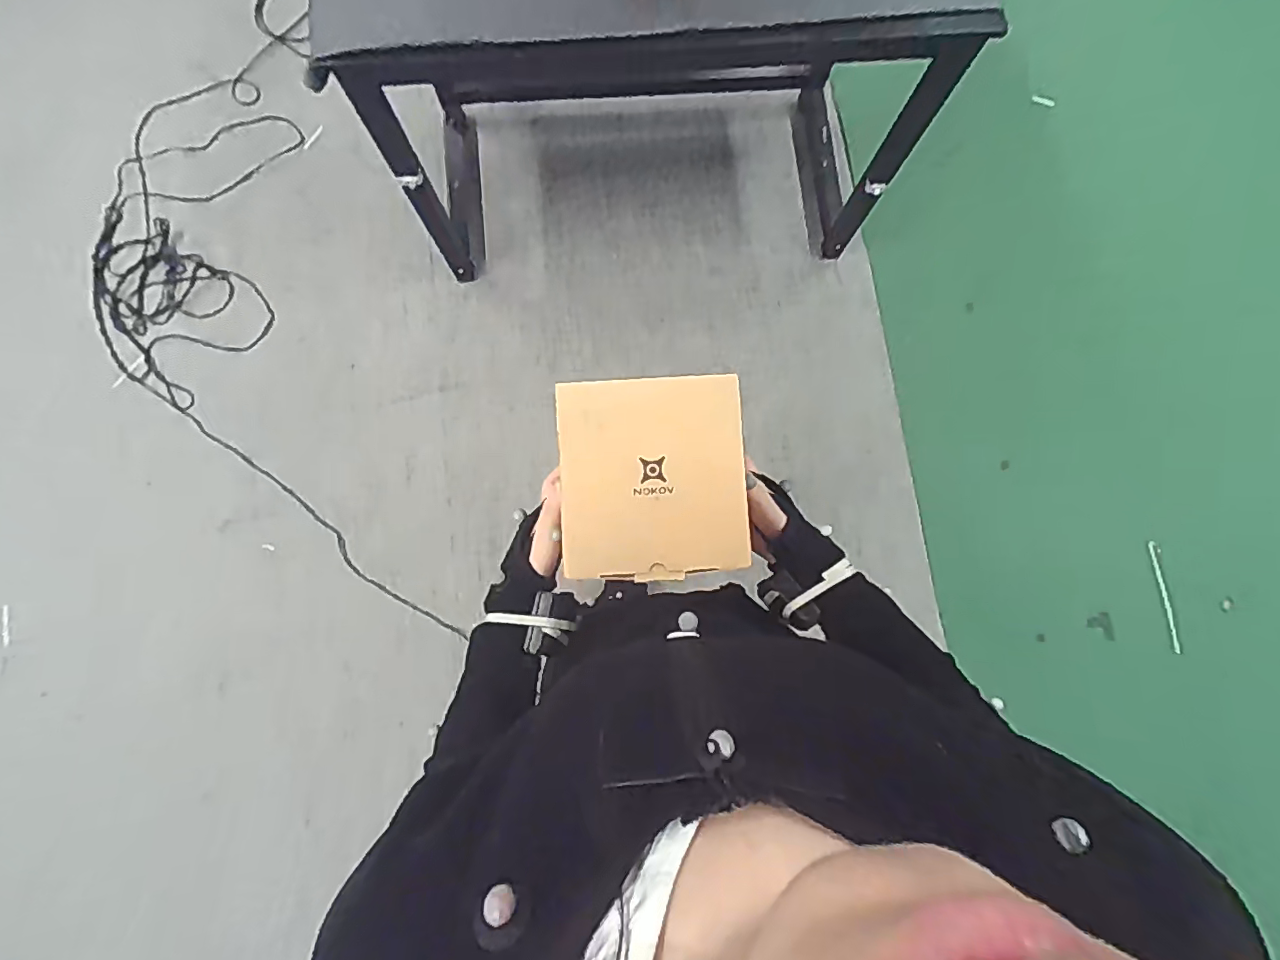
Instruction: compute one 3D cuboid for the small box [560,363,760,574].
[{"bbox_3d":[0.012,-0.005,0.536,0.168,0.176,0.179,-3,86,-2],"label":"small box"}]
